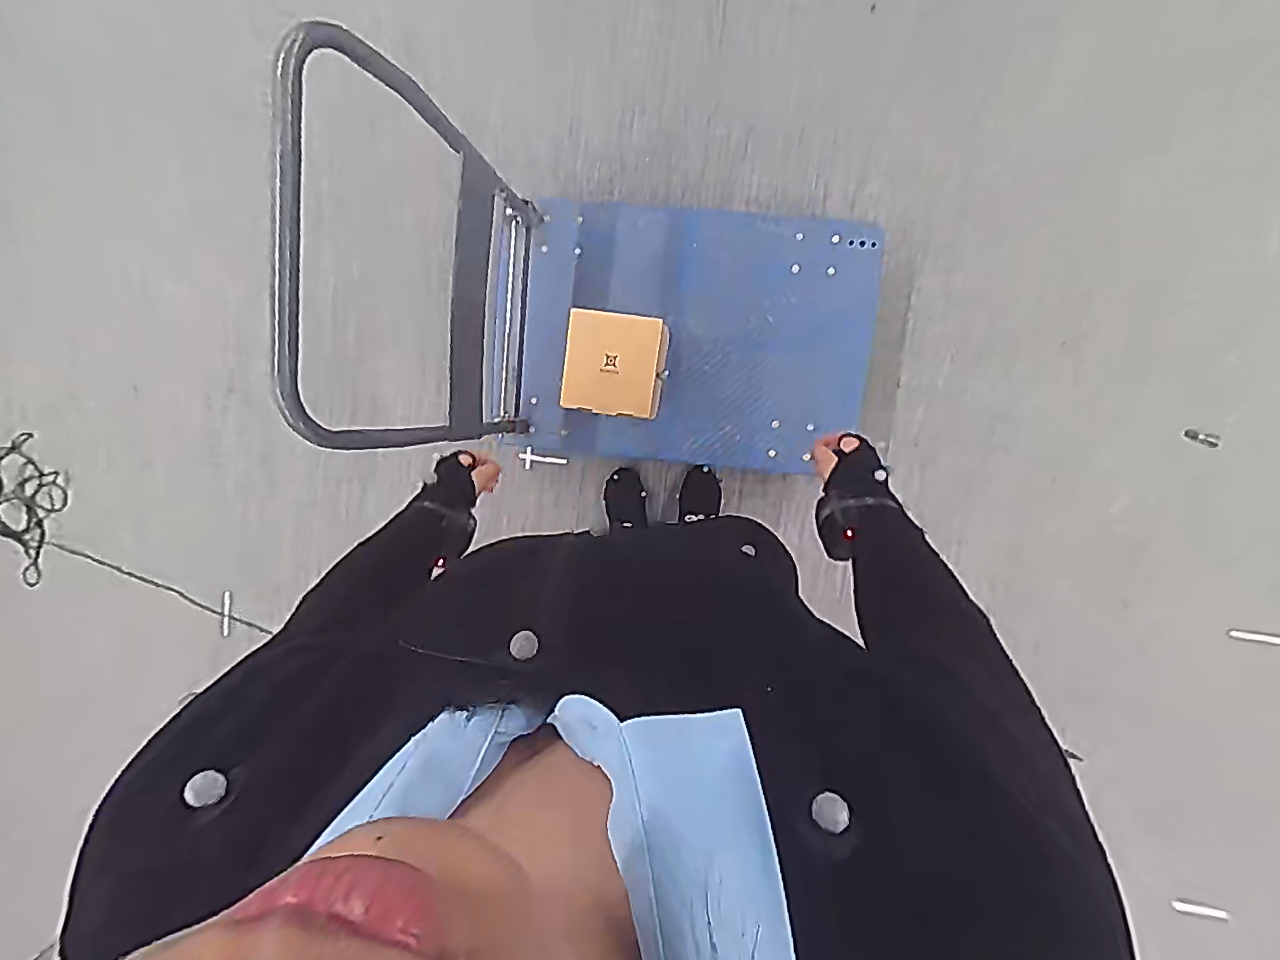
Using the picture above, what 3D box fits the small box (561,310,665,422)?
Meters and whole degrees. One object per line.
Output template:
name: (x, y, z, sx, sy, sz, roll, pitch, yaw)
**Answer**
small box: (-0.045, -0.210, 1.029, 0.168, 0.176, 0.179, 8, 98, 3)
